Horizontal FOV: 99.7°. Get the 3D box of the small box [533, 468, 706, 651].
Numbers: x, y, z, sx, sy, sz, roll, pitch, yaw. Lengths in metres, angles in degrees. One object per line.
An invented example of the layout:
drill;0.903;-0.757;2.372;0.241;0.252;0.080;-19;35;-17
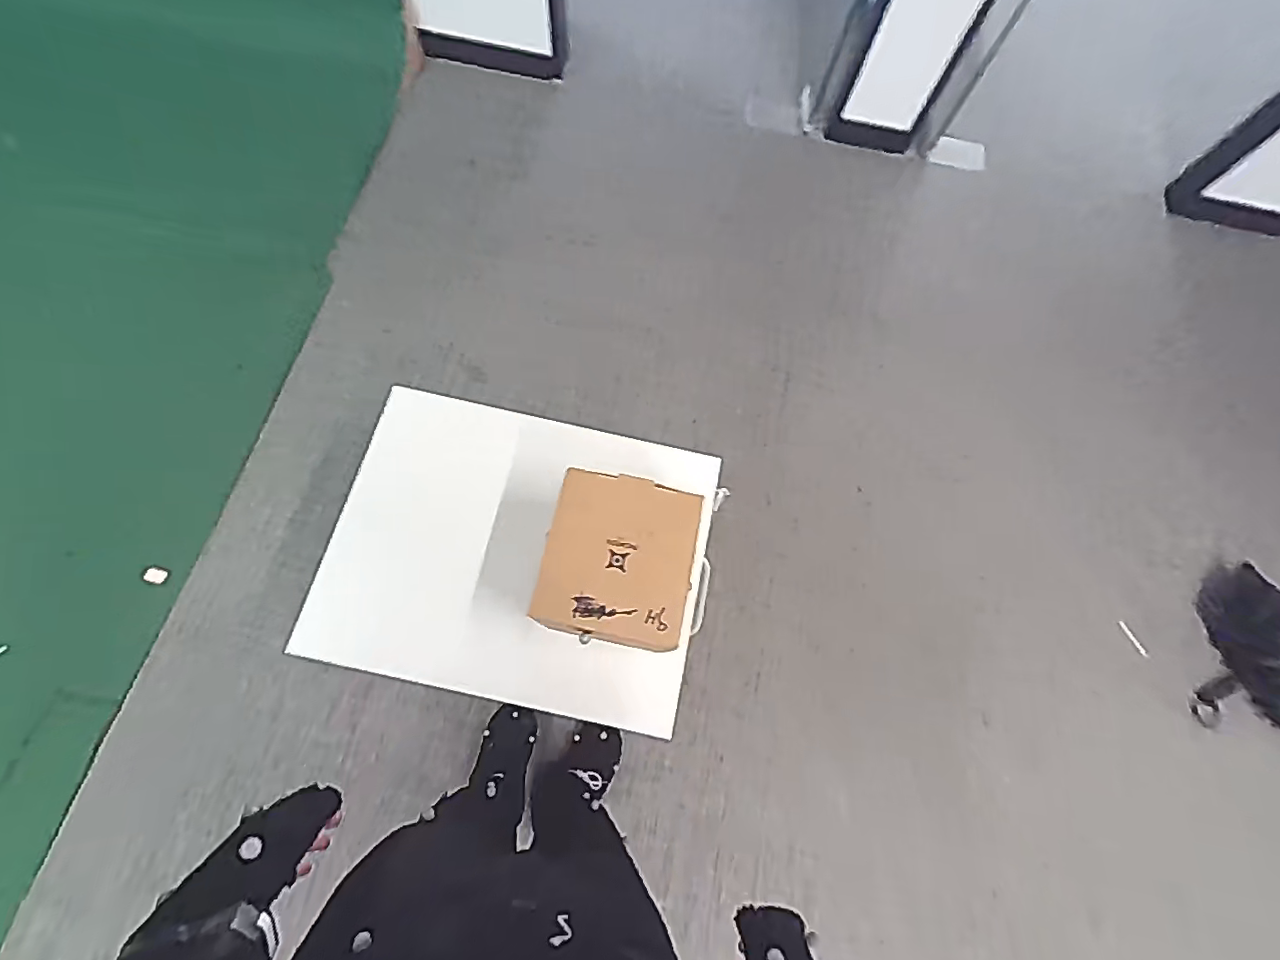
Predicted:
small box;-0.023;0.107;0.675;0.168;0.176;0.179;11;71;2
